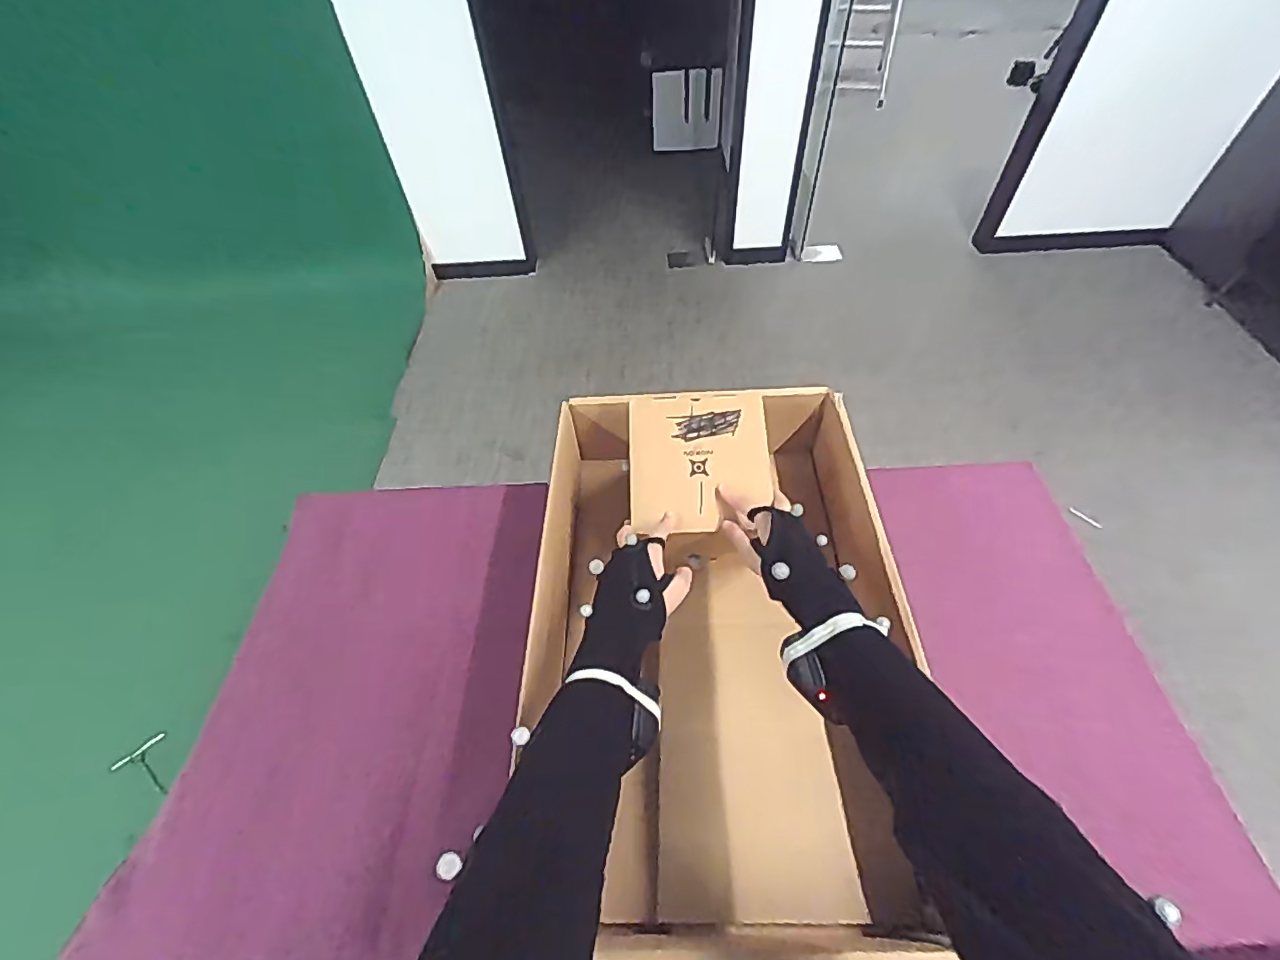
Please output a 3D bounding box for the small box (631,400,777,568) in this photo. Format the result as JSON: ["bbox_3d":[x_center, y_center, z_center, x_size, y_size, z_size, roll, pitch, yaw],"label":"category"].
[{"bbox_3d":[0.074,0.013,0.710,0.168,0.176,0.179,-3,71,2],"label":"small box"}]
